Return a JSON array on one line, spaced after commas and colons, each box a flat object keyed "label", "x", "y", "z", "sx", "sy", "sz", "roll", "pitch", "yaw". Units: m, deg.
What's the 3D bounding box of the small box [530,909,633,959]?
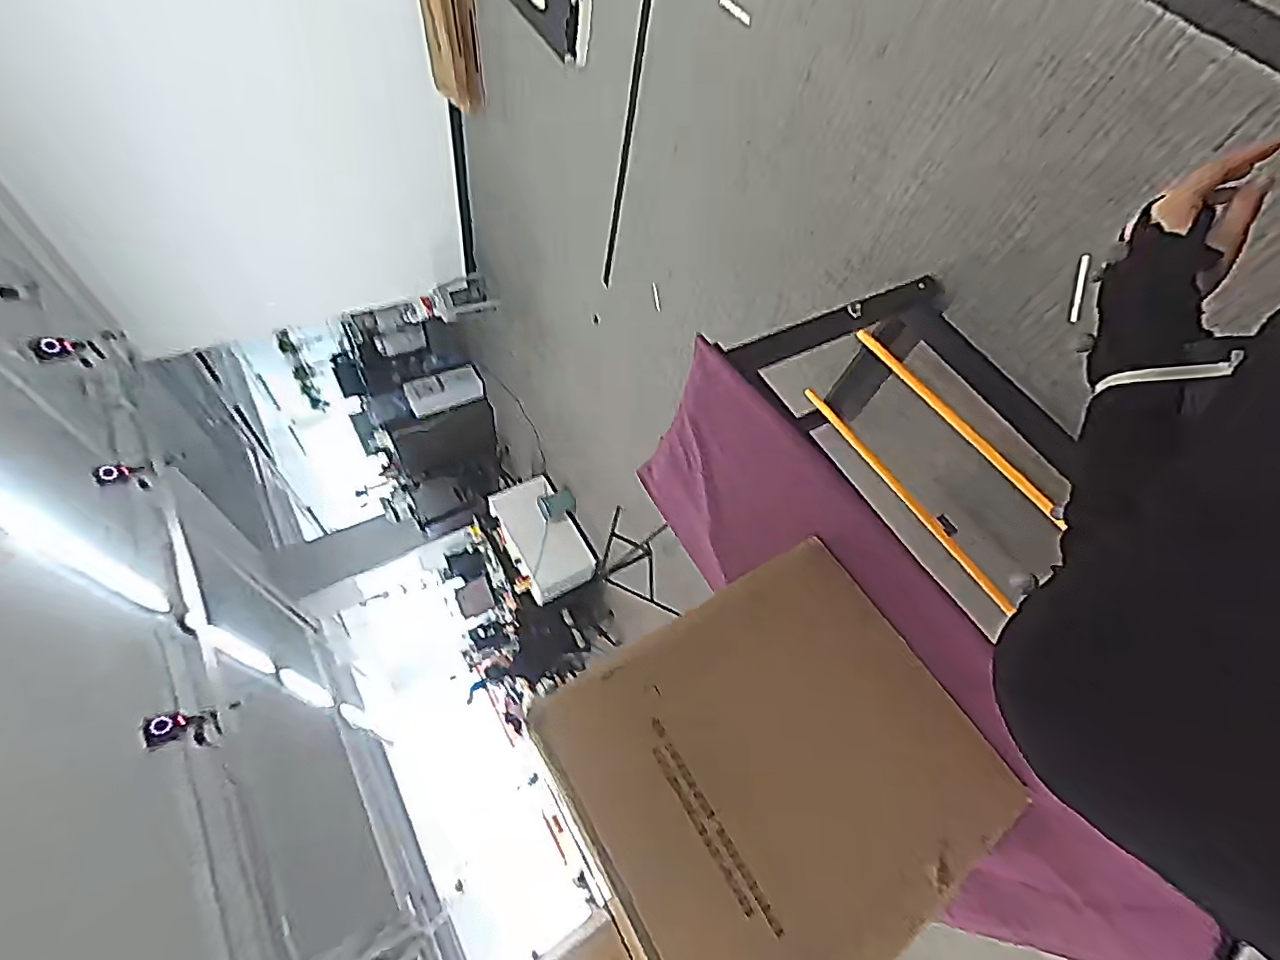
[{"label": "small box", "x": -0.083, "y": 0.808, "z": 0.835, "sx": 0.168, "sy": 0.176, "sz": 0.179, "roll": 55, "pitch": 154, "yaw": 23}]
